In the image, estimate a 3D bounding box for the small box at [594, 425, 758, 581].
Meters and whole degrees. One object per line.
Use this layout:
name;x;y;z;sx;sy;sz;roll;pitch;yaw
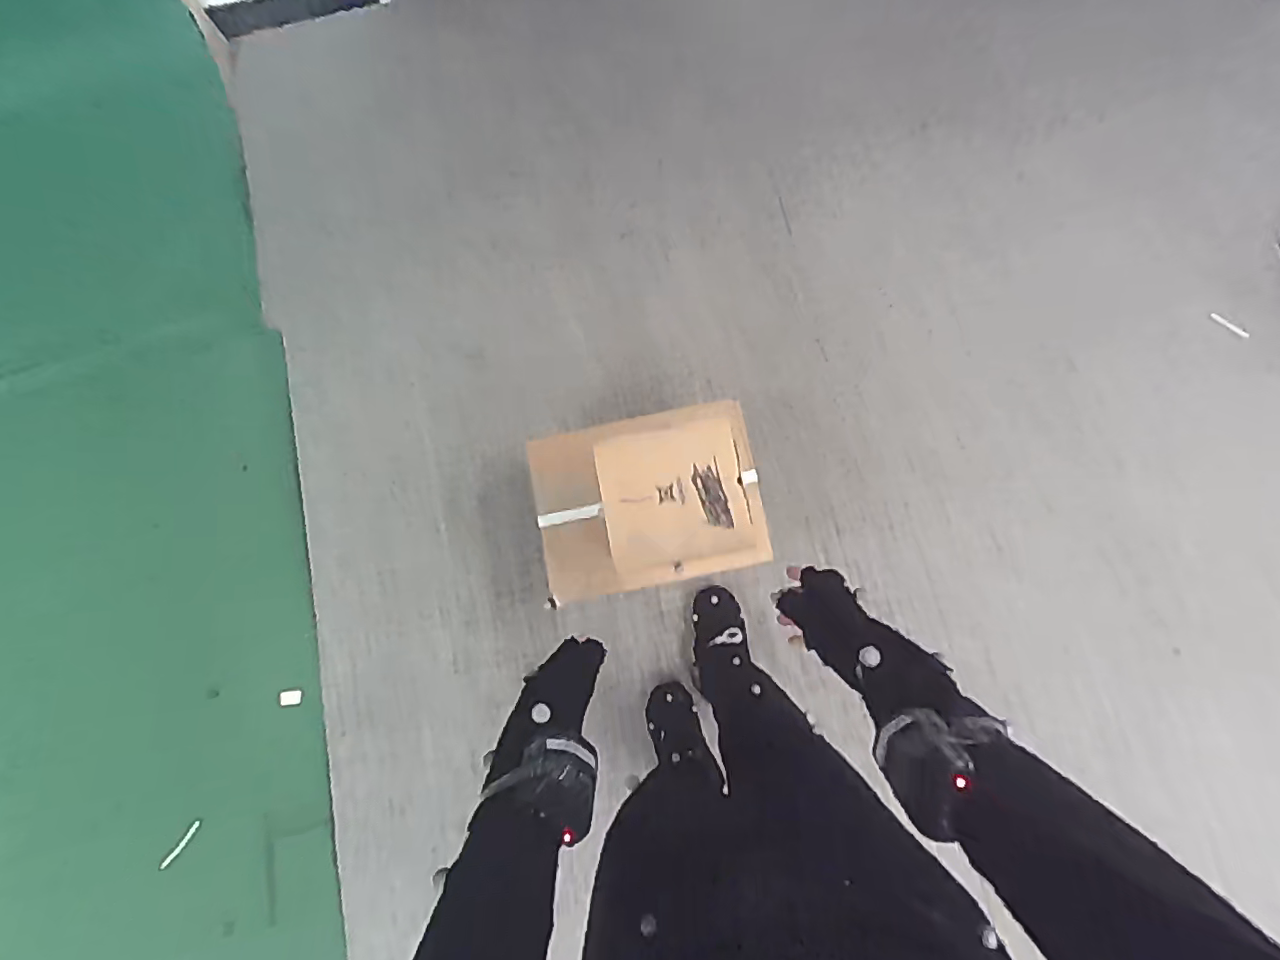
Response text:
small box;0.046;0.037;0.733;0.179;0.176;0.168;-12;81;2
